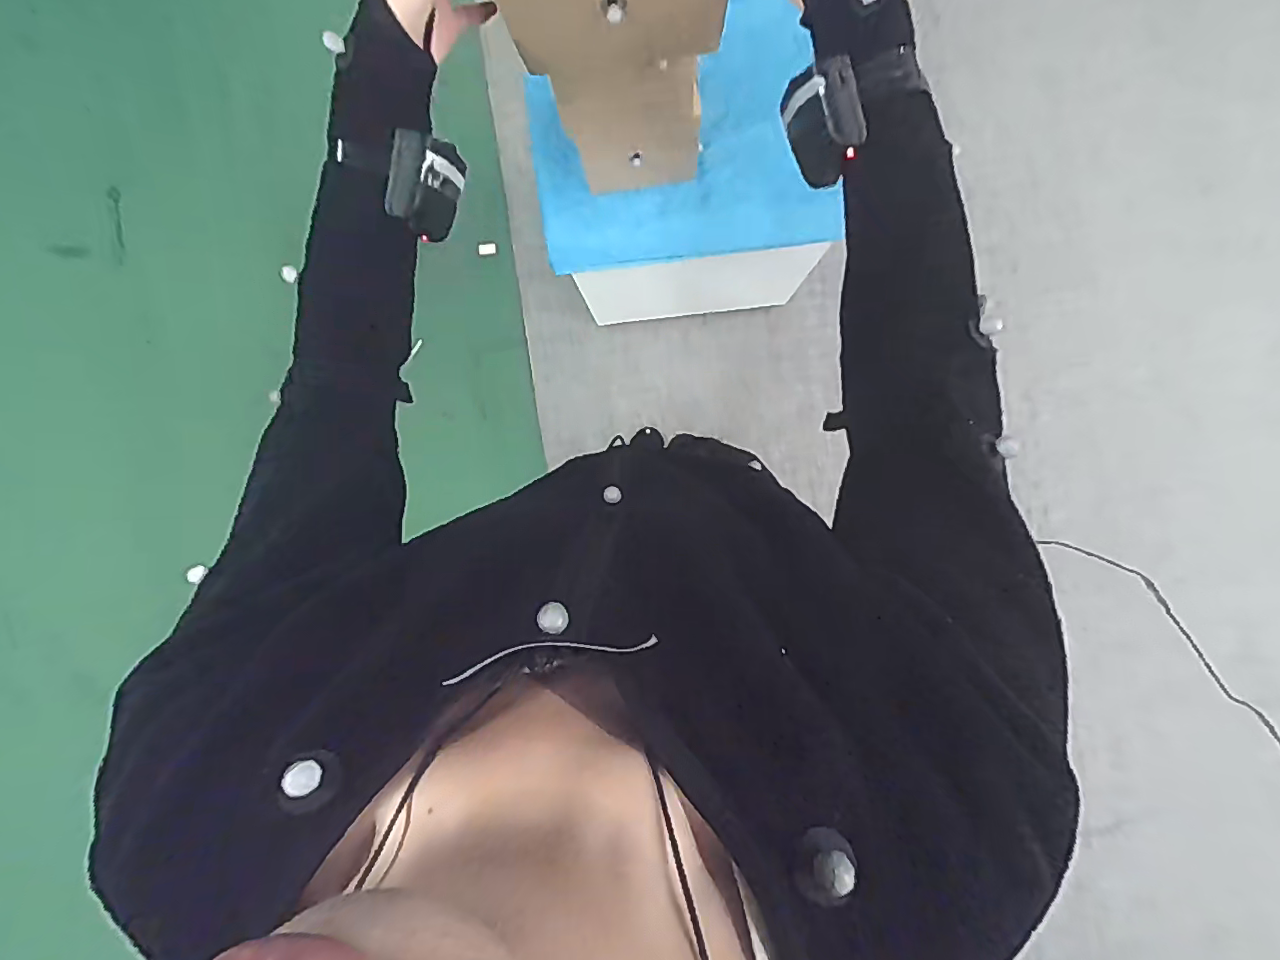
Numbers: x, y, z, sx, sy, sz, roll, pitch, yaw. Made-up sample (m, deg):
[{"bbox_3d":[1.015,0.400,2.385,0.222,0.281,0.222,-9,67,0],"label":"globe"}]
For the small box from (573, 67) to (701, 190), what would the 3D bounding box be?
[{"bbox_3d":[-0.011,-0.559,0.799,0.179,0.176,0.168,-8,92,3],"label":"small box"}]

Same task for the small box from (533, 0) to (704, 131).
[{"bbox_3d":[-0.028,-0.550,0.635,0.179,0.176,0.168,-8,91,3],"label":"small box"}]
